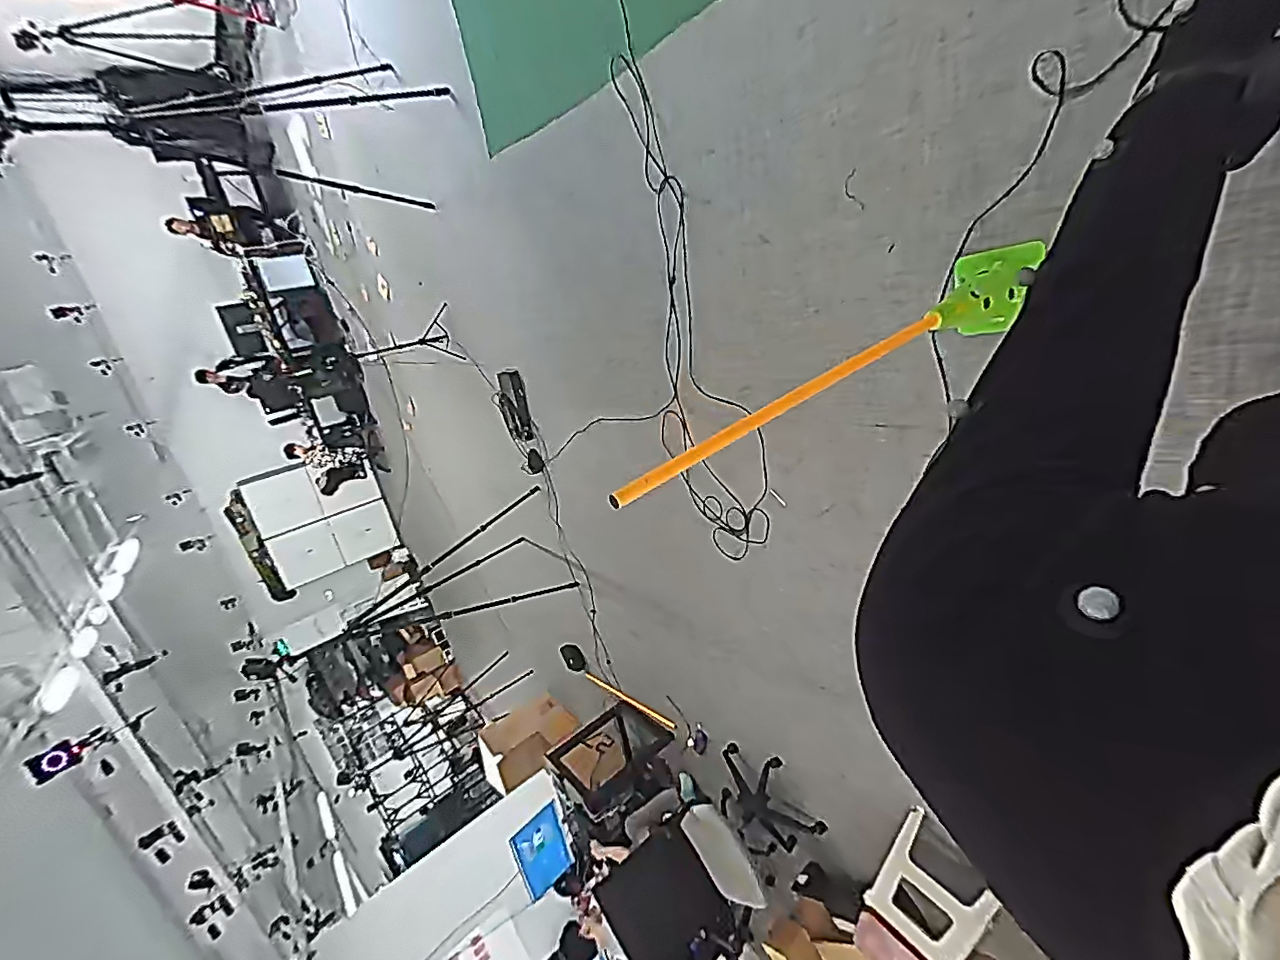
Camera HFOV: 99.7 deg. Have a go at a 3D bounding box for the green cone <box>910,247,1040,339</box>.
[{"bbox_3d":[0.746,-0.401,1.259,0.202,0.368,0.200,9,118,54],"label":"green cone"}]
